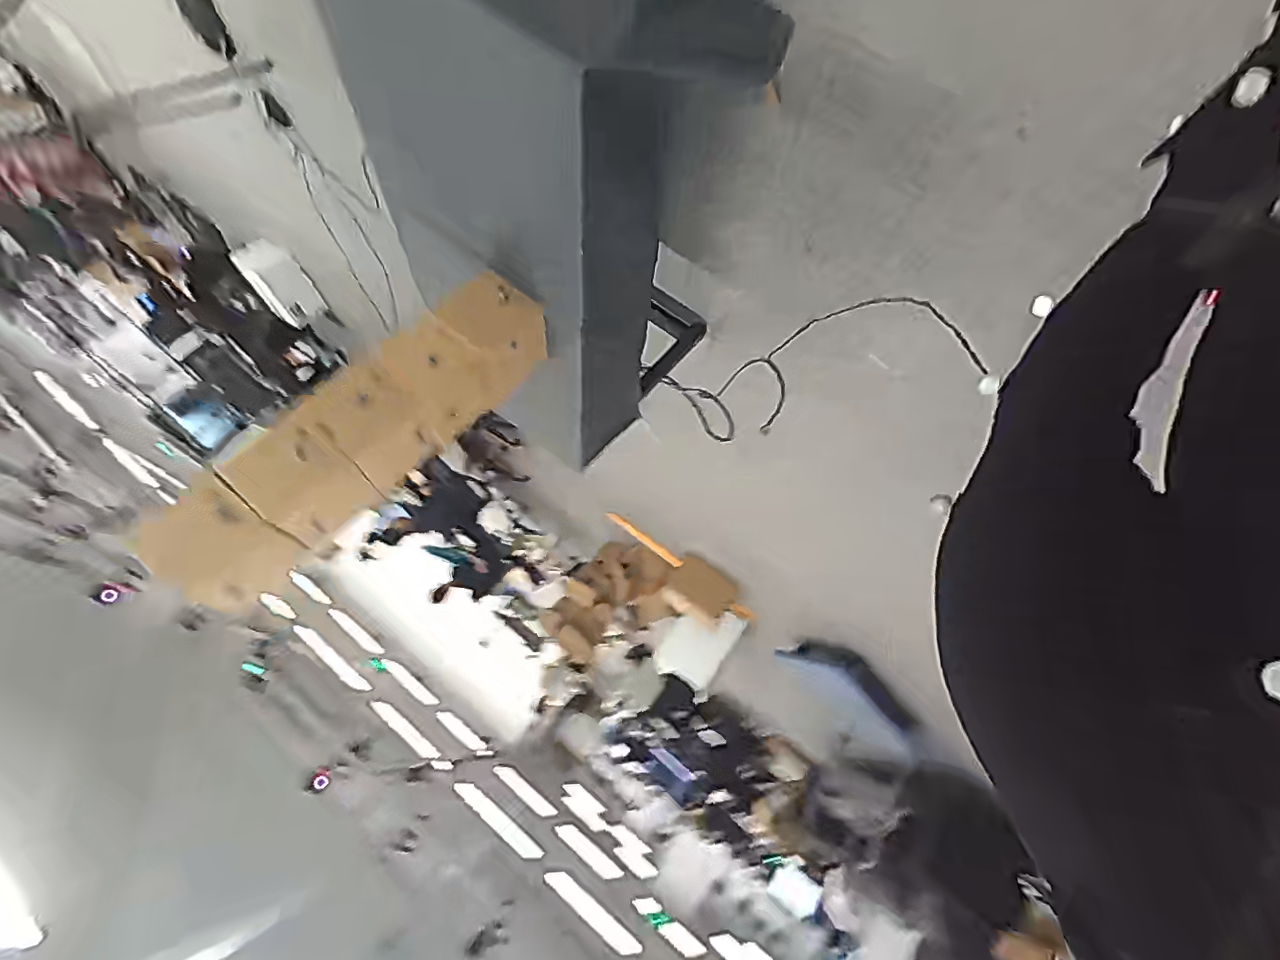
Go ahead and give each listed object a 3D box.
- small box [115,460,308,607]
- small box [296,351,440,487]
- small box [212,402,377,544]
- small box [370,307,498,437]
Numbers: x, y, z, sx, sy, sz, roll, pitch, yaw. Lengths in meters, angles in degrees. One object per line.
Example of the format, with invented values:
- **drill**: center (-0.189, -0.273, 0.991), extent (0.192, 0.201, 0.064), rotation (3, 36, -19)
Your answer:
- **small box**: center (-0.742, 0.097, 0.963), extent (0.168, 0.176, 0.179), rotation (38, 157, 8)
- **small box**: center (-0.534, -0.124, 1.089), extent (0.168, 0.176, 0.179), rotation (39, 156, 10)
- **small box**: center (-0.640, -0.012, 1.030), extent (0.168, 0.176, 0.179), rotation (38, 156, 11)
- **small box**: center (-0.427, -0.231, 1.150), extent (0.168, 0.176, 0.179), rotation (38, 156, 12)
